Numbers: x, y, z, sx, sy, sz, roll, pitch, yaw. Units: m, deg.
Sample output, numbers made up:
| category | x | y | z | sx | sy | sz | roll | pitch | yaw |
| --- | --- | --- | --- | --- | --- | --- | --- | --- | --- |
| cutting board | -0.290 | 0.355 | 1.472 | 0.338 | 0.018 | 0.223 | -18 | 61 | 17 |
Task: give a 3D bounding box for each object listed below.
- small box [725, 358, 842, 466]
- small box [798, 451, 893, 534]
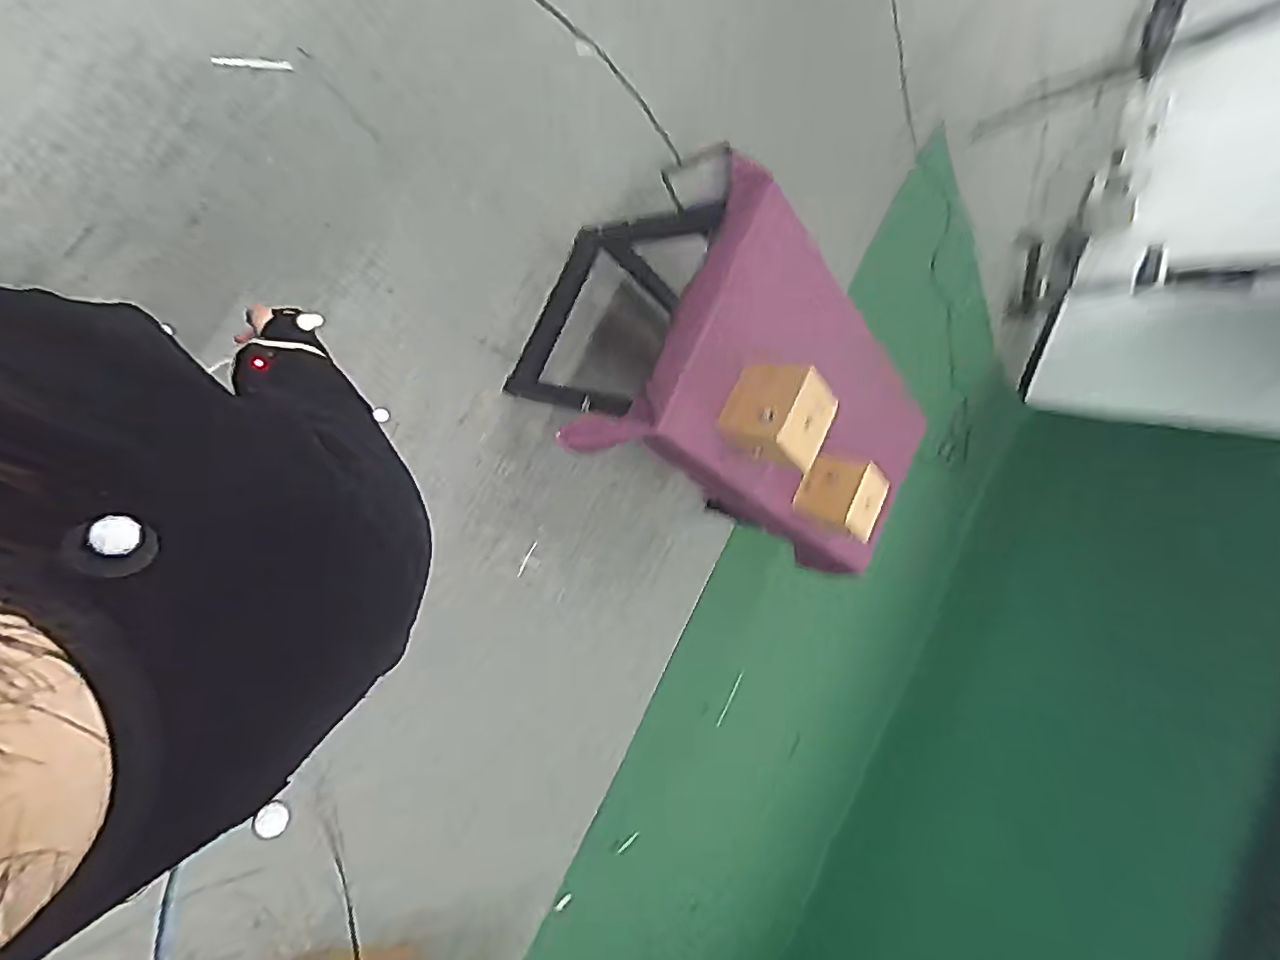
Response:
| category | x | y | z | sx | sy | sz | roll | pitch | yaw |
| --- | --- | --- | --- | --- | --- | --- | --- | --- | --- |
| small box | 0.315 | -0.156 | 1.211 | 0.168 | 0.176 | 0.179 | 33 | 81 | -44 |
| small box | 0.567 | 0.029 | 1.503 | 0.179 | 0.176 | 0.168 | 31 | 82 | -44 |
